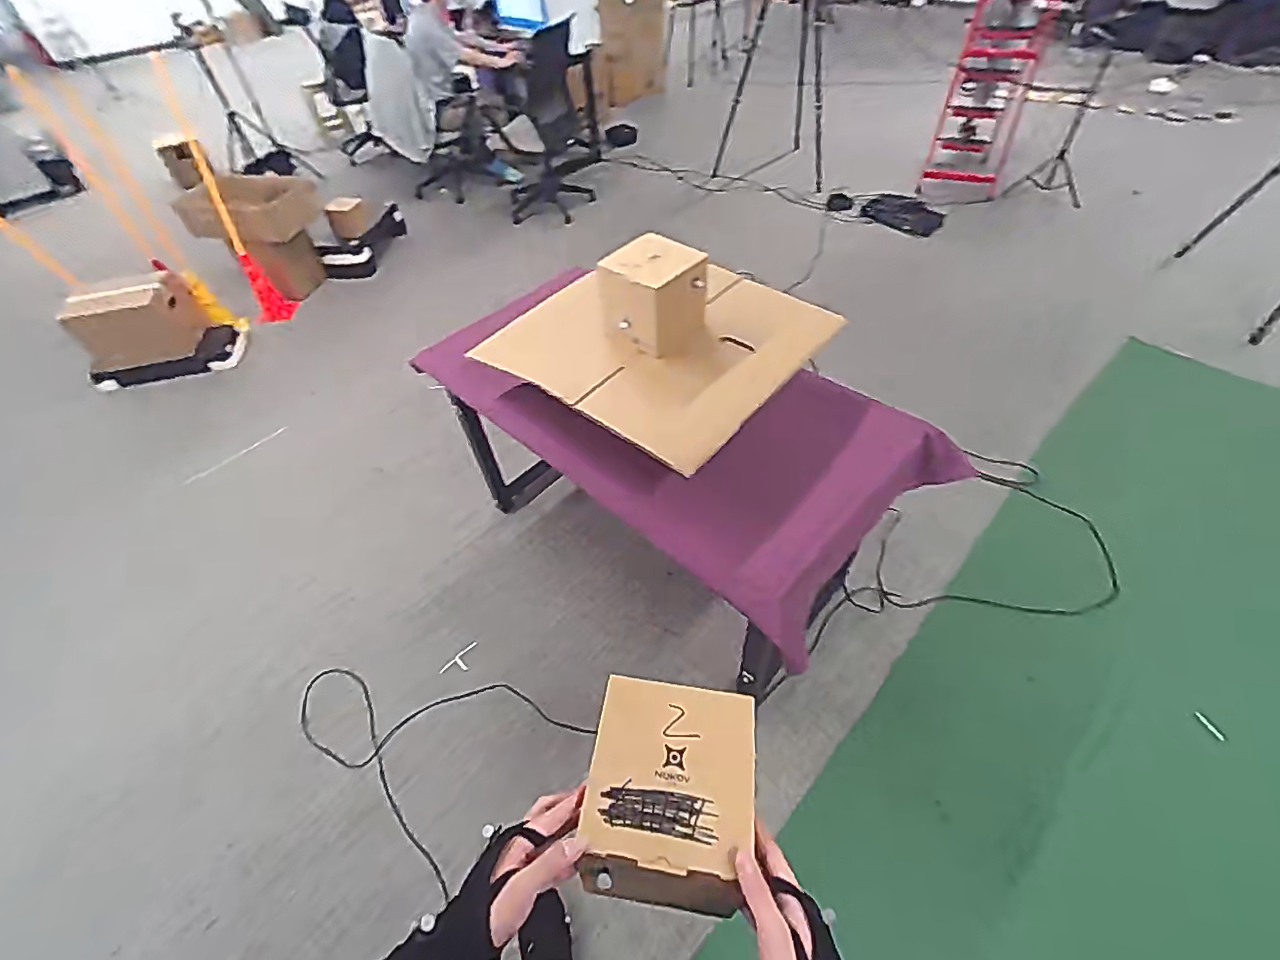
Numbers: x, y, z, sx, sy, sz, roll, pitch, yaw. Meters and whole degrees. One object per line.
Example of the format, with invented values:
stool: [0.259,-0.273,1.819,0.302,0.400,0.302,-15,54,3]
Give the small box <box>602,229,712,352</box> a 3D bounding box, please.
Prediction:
small box: [0.036,-0.413,1.183,0.168,0.176,0.179,34,60,27]
